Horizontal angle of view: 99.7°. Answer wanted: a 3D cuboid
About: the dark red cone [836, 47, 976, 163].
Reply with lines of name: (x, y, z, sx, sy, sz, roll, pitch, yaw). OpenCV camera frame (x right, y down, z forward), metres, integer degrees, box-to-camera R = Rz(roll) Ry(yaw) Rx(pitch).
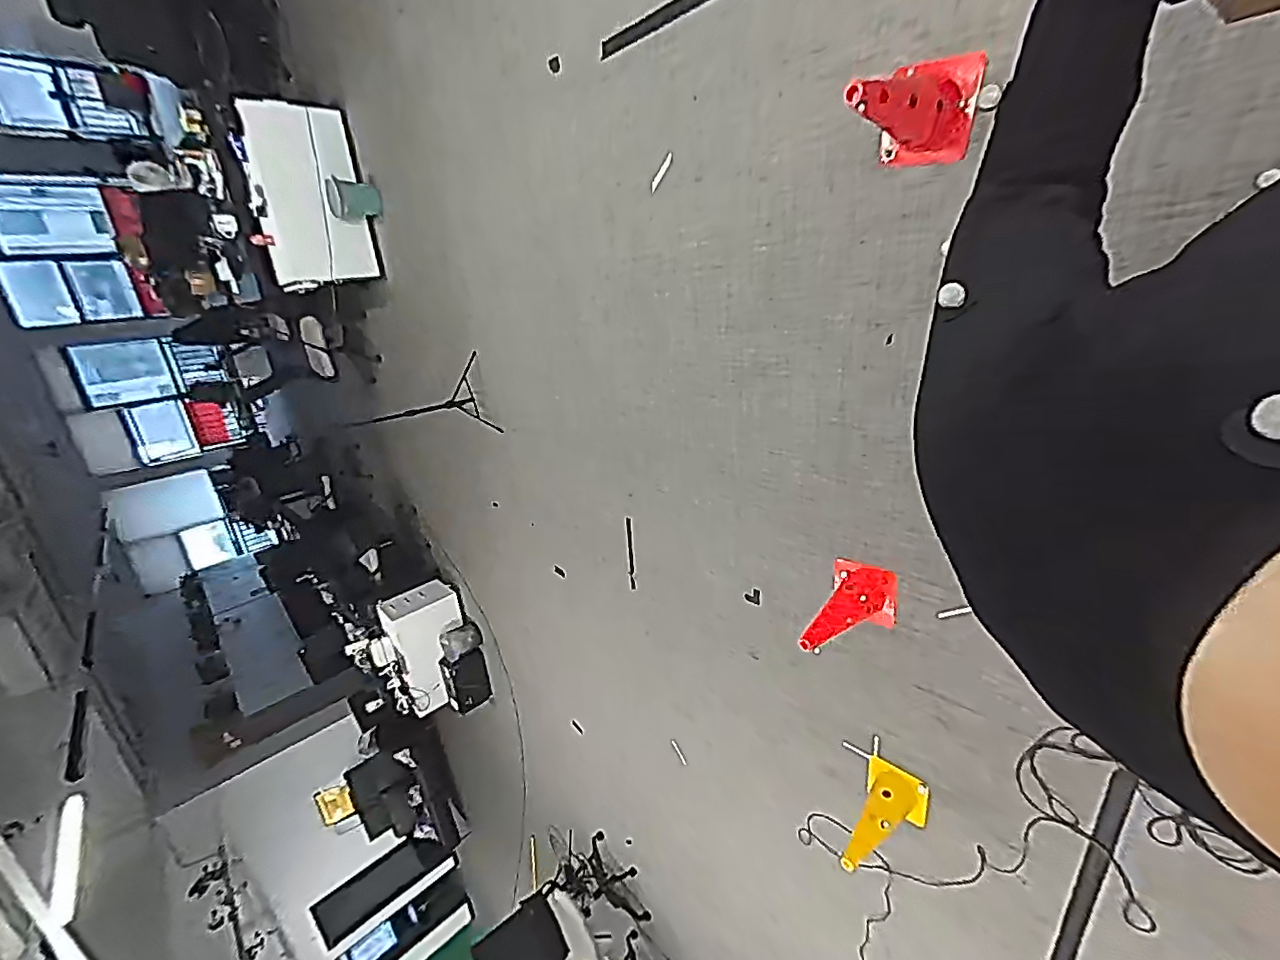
dark red cone: (0.510, -0.778, 1.105, 0.201, 0.394, 0.202, 23, 124, 41)

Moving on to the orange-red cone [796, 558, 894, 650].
orange-red cone: (0.587, 0.411, 1.628, 0.198, 0.360, 0.199, 14, 119, 47)
